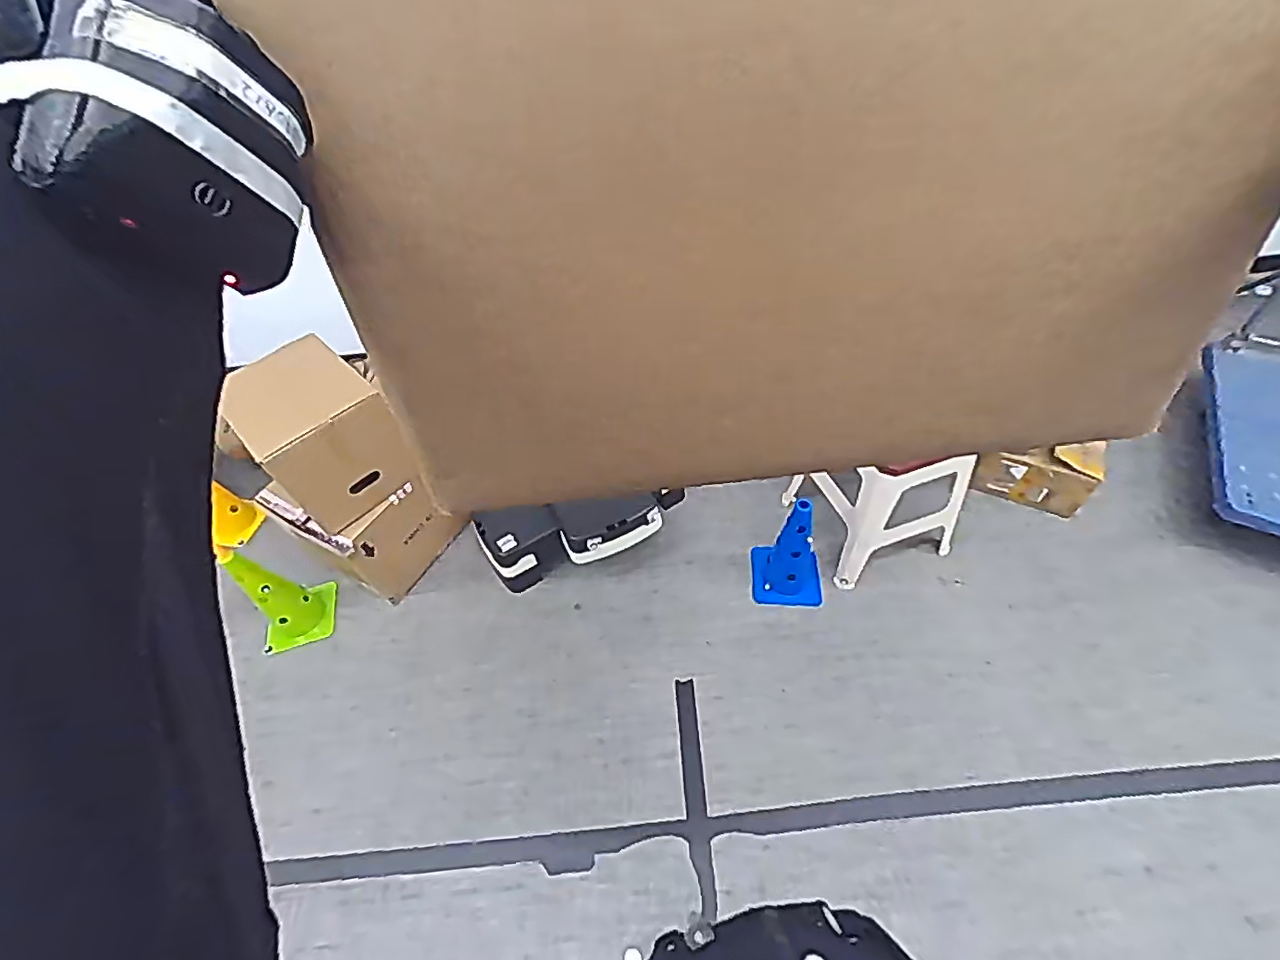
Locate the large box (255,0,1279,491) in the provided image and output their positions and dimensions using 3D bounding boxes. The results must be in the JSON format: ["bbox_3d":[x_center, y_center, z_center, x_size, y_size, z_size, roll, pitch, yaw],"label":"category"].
[{"bbox_3d":[0.059,-0.220,0.333,0.408,0.320,0.320,-6,39,-1],"label":"large box"}]
